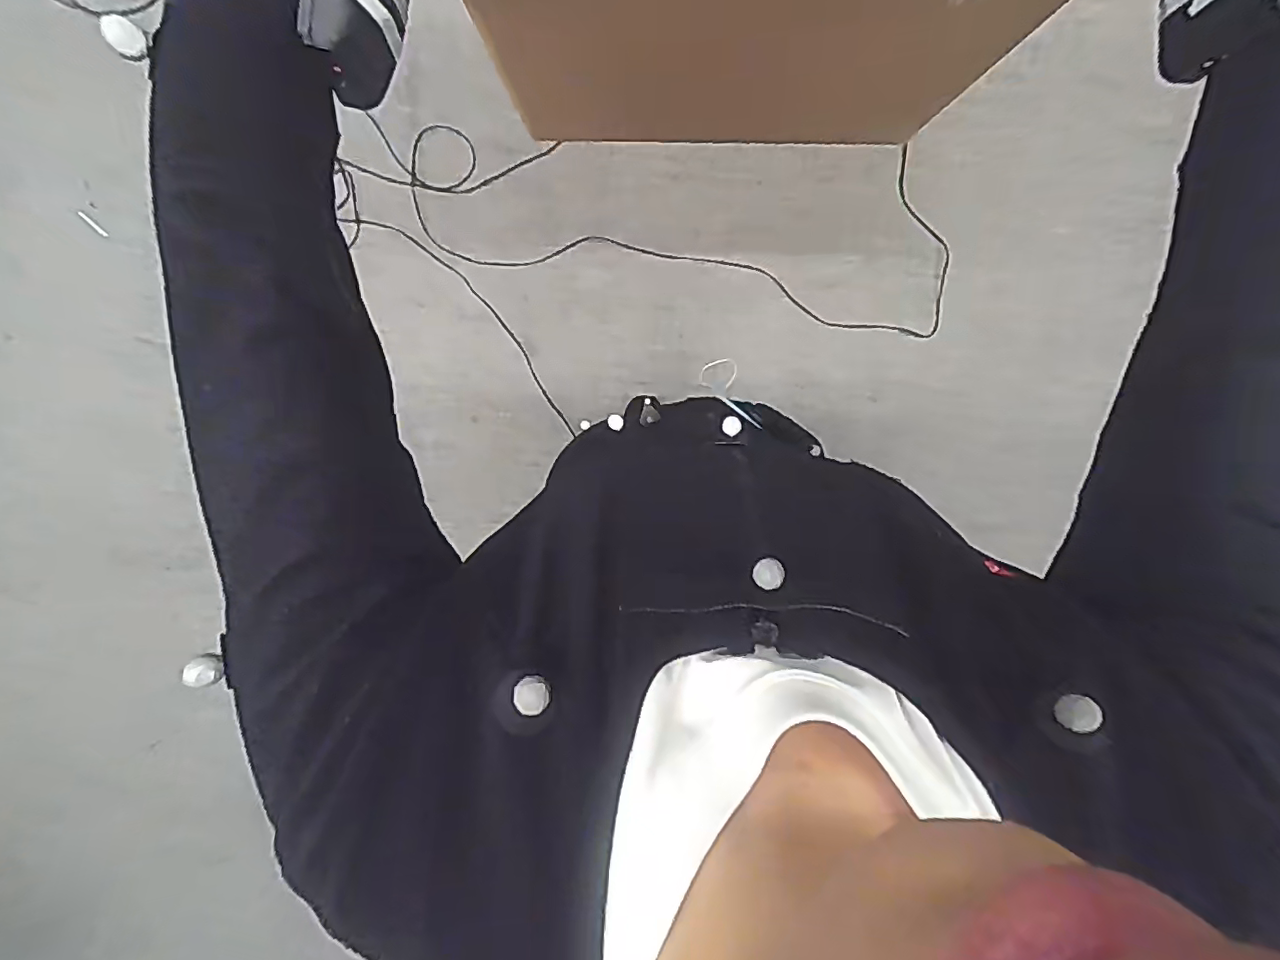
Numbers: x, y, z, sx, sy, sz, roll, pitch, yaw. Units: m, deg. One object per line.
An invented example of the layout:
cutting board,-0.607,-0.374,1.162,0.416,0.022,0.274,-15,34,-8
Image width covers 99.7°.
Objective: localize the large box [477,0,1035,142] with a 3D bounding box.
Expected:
large box,0.079,-0.489,0.410,0.408,0.320,0.320,0,101,-1
